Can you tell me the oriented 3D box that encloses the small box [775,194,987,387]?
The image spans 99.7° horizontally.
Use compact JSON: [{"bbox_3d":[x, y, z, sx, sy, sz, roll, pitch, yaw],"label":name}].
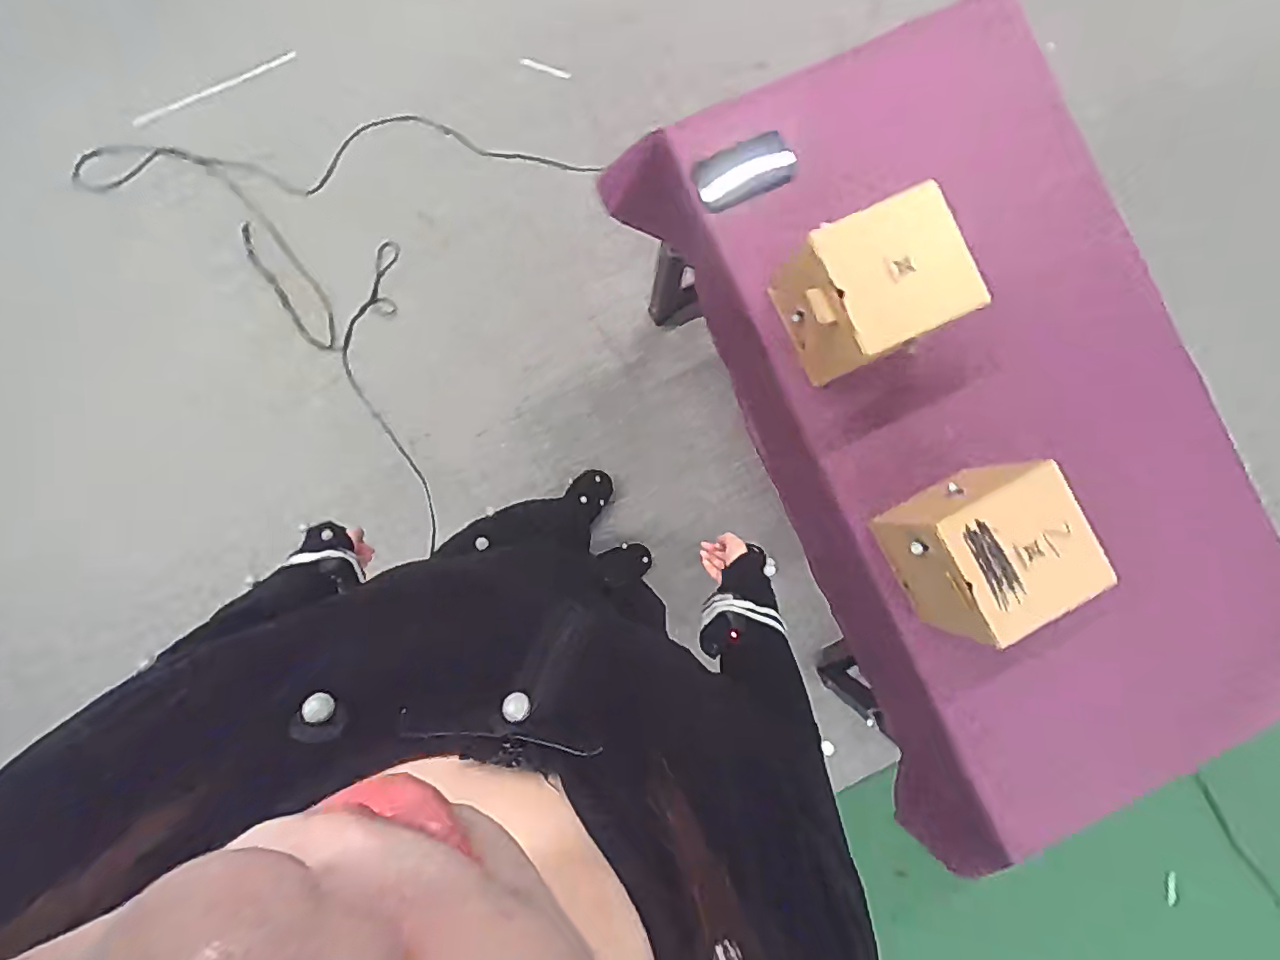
[{"bbox_3d":[0.313,-0.244,0.738,0.179,0.176,0.168,-24,90,-4],"label":"small box"}]
